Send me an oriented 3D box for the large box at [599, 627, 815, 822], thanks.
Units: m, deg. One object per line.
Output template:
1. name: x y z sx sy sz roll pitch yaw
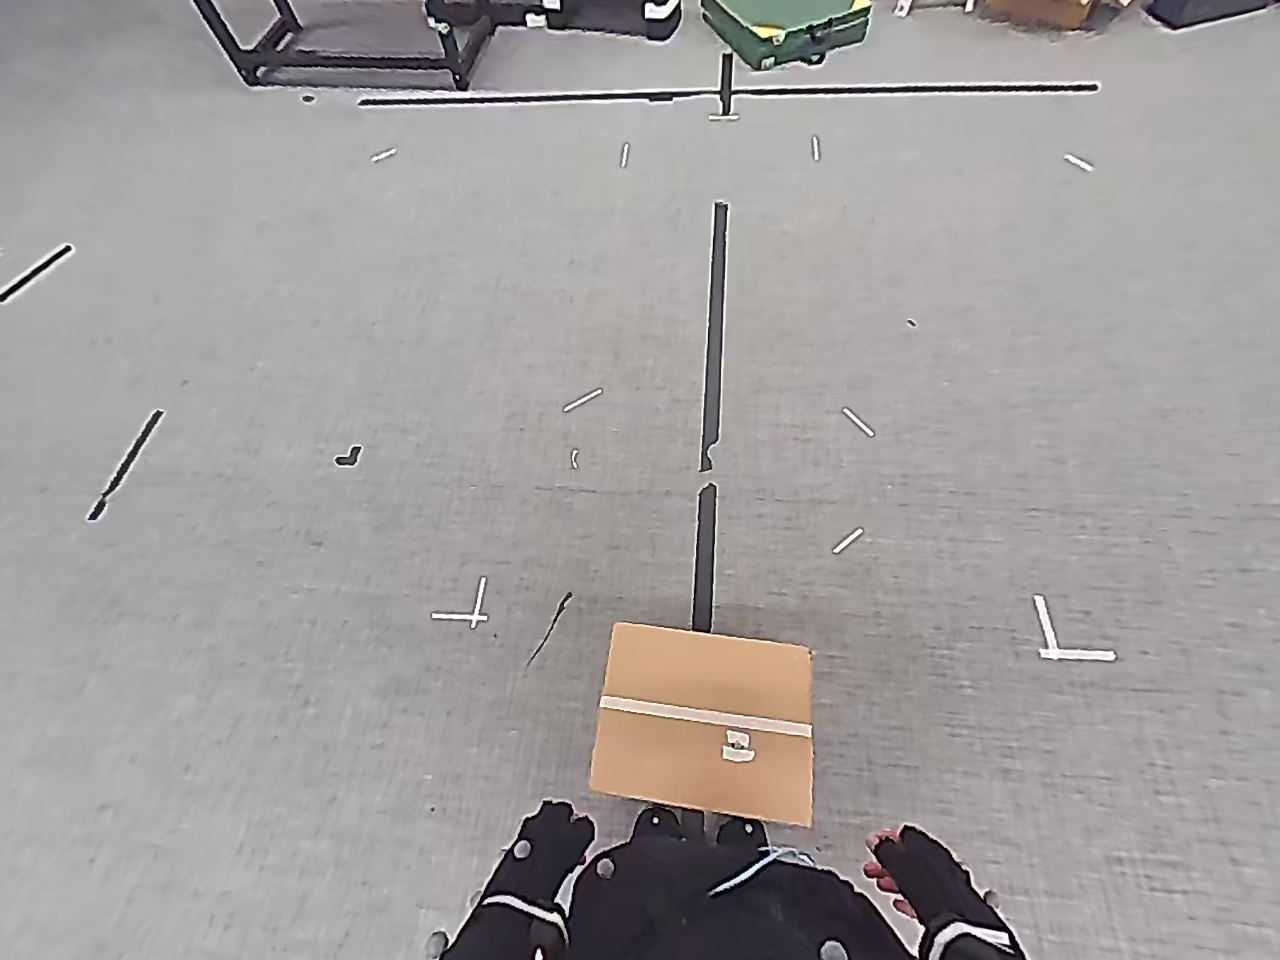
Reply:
1. large box: 0.141 0.530 1.186 0.408 0.320 0.320 6 64 6
